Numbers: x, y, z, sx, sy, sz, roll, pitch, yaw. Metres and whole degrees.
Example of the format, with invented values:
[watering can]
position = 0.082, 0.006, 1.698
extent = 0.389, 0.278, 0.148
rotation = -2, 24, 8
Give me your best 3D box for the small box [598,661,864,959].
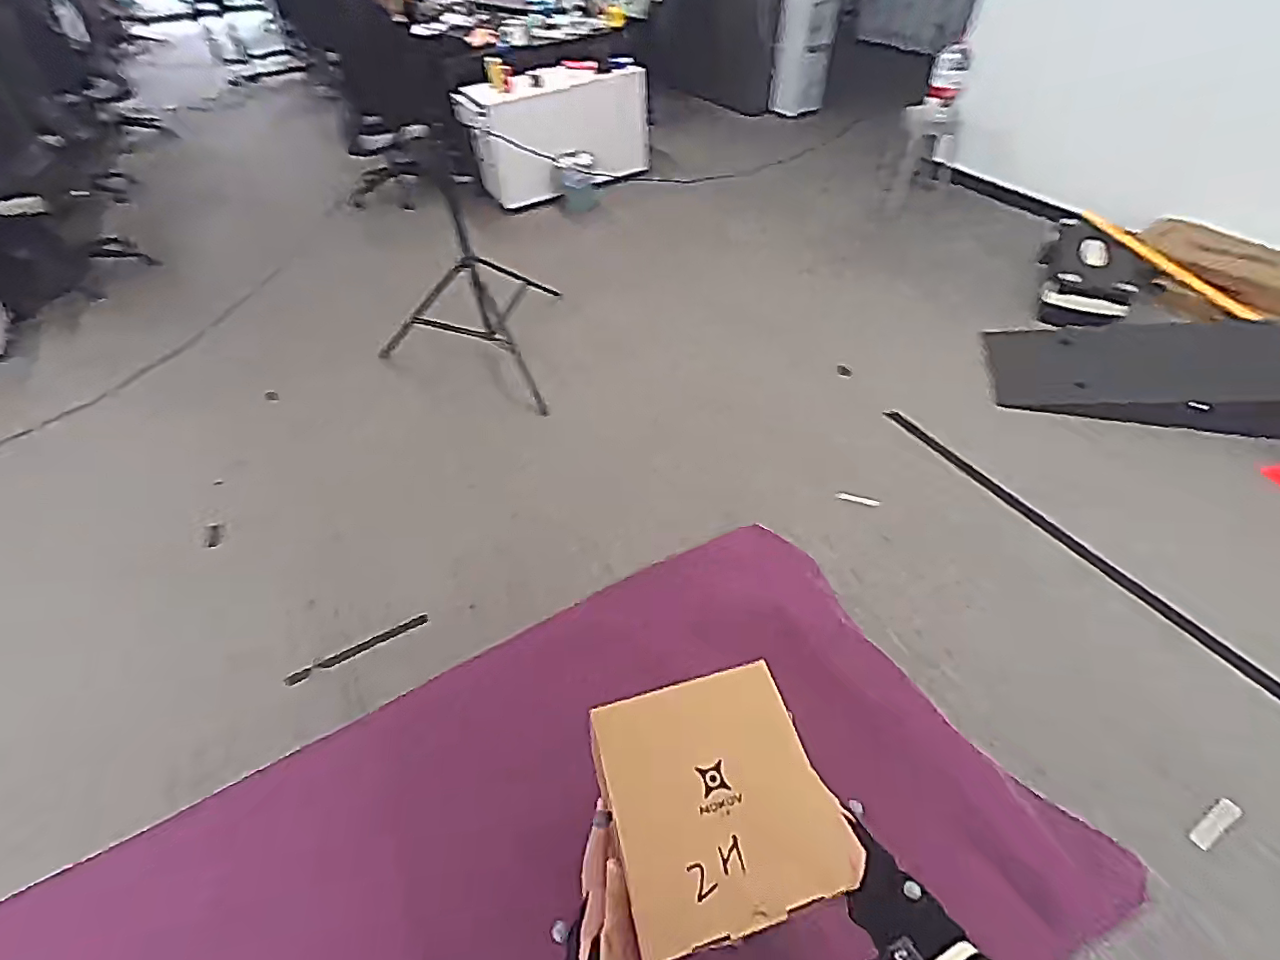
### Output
[small box]
position = 0.059, 0.293, 0.486
extent = 0.168, 0.176, 0.179
rotation = -11, 53, -11
